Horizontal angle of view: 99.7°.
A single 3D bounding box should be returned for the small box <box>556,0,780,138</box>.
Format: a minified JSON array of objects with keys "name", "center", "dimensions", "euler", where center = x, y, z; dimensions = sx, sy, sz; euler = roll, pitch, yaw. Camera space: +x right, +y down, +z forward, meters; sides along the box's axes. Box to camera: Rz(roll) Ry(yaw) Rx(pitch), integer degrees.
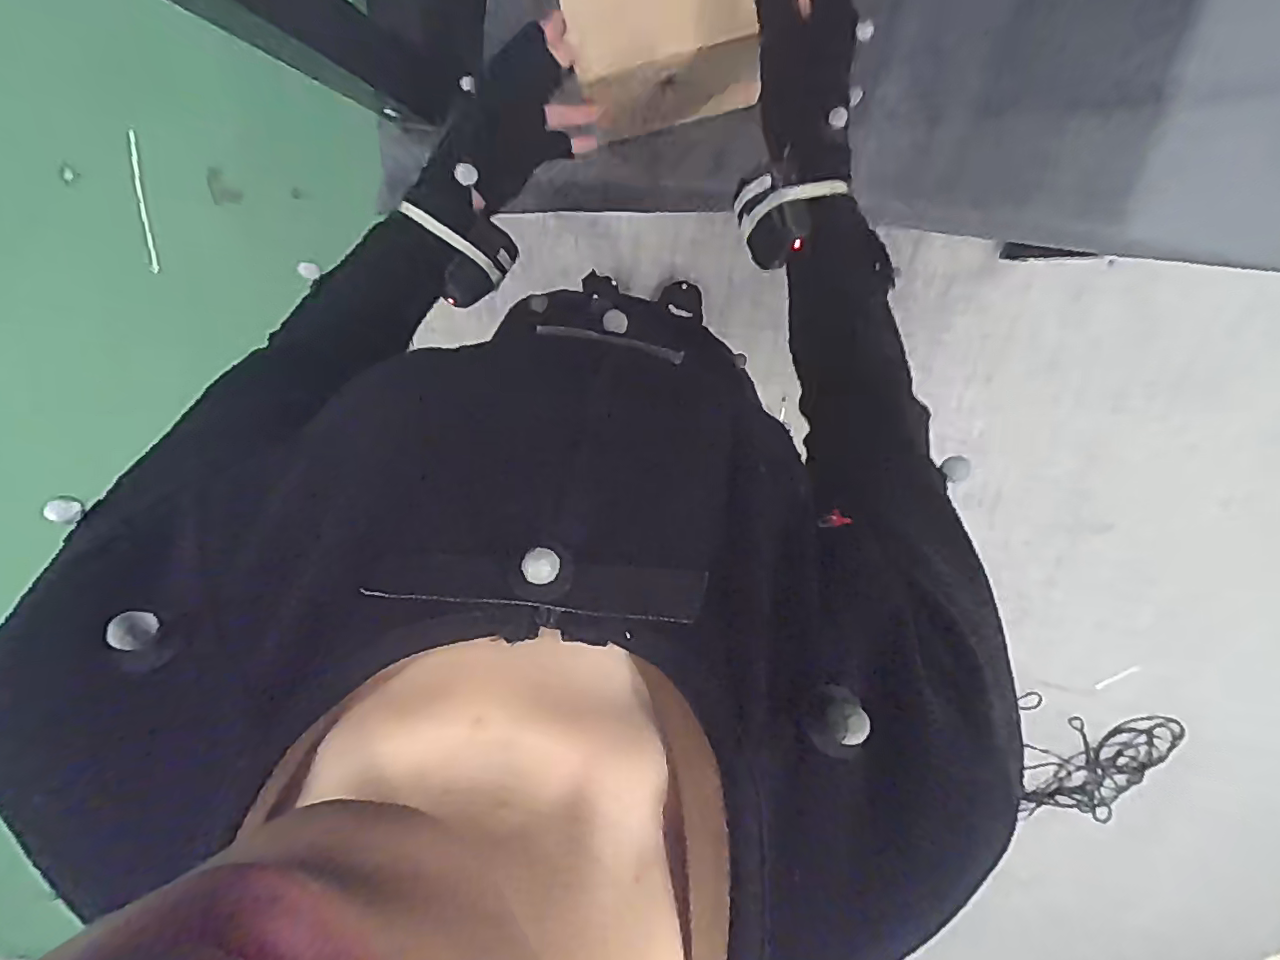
[{"name":"small box","center":[0.020,-0.438,0.493],"dimensions":[0.179,0.176,0.168],"euler":[-8,107,4]}]
